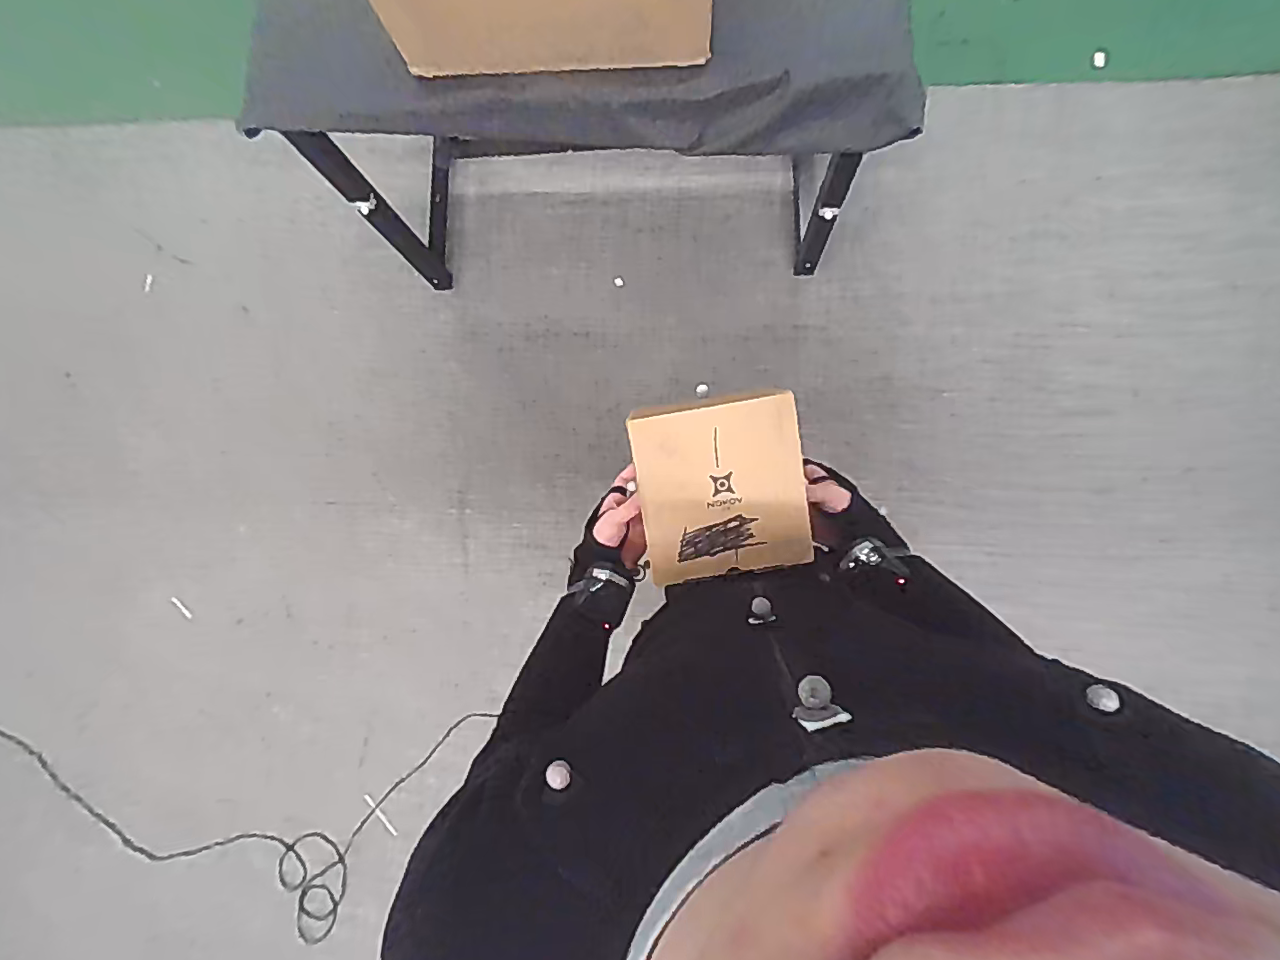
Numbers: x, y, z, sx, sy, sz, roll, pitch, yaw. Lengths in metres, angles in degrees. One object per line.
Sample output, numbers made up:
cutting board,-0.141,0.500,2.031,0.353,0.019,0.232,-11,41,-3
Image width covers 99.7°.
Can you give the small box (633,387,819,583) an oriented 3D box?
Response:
small box,0.089,-0.005,0.613,0.168,0.176,0.179,-10,100,2
